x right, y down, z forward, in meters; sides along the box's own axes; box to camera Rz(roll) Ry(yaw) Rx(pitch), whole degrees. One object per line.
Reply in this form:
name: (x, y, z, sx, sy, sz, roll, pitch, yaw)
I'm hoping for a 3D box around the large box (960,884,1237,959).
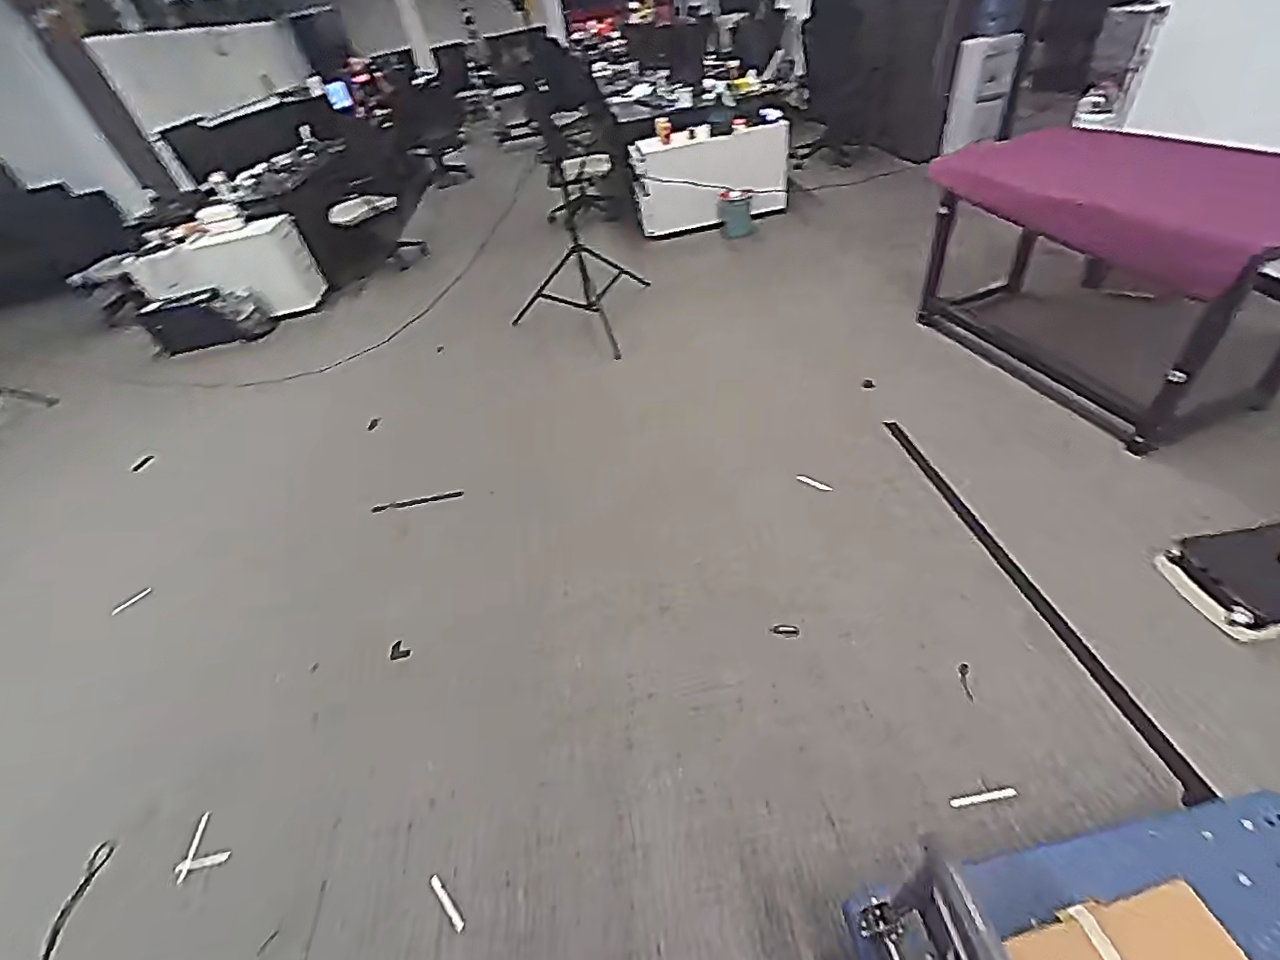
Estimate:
large box: (0.663, 0.831, 0.698, 0.320, 0.320, 0.408, -16, 44, -4)
